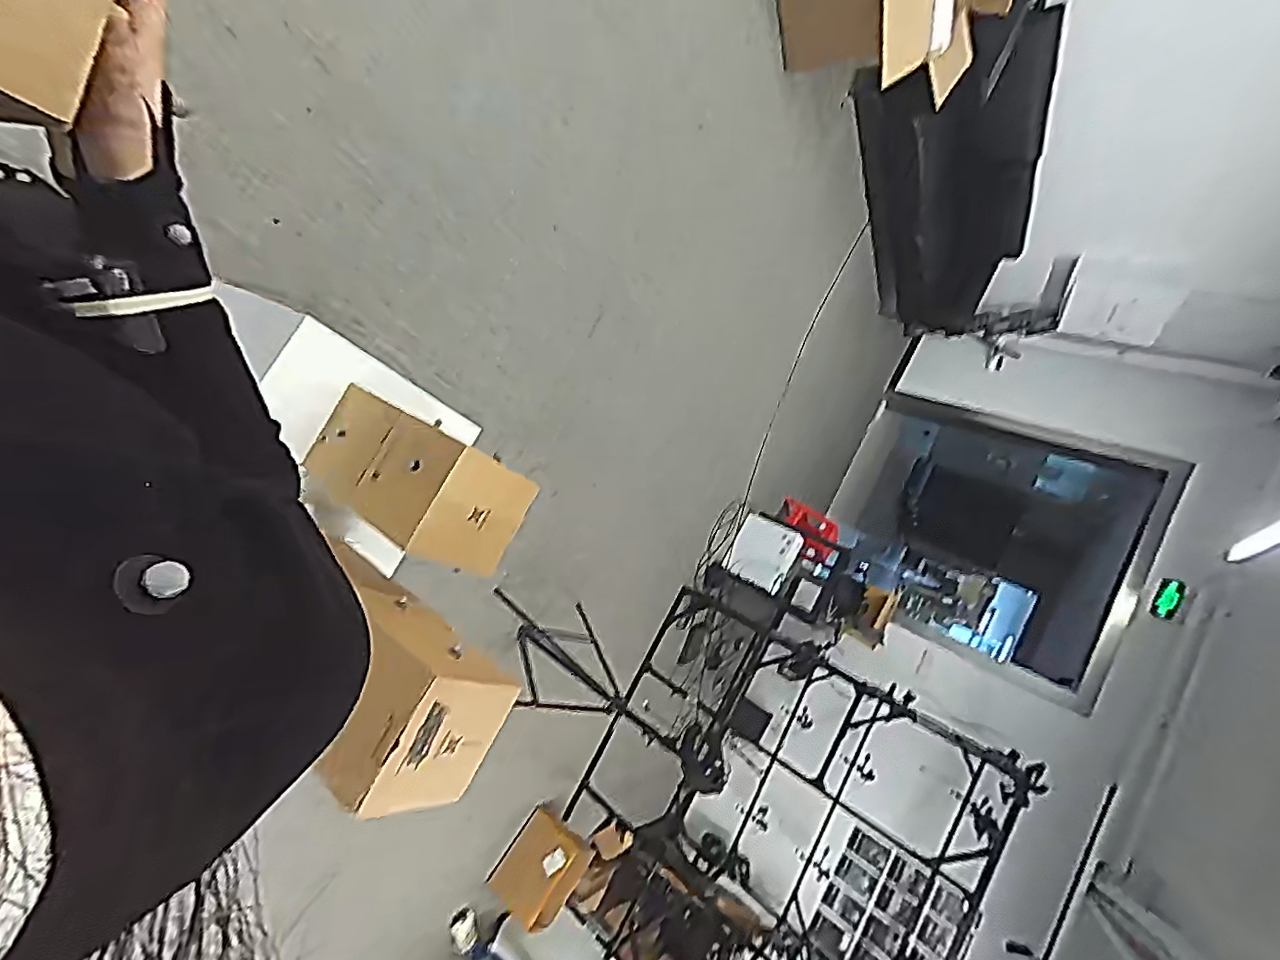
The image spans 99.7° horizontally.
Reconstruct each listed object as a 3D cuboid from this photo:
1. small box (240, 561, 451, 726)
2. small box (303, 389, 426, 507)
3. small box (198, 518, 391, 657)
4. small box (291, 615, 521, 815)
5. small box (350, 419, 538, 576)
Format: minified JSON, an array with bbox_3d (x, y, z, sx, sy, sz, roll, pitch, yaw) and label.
[{"bbox_3d":[-0.423,0.236,0.786,0.168,0.176,0.179,-61,147,-9],"label":"small box"},{"bbox_3d":[-0.421,-0.034,0.919,0.168,0.176,0.179,-62,147,-6],"label":"small box"},{"bbox_3d":[-0.552,0.177,0.866,0.168,0.176,0.179,-60,146,-8],"label":"small box"},{"bbox_3d":[-0.297,0.292,0.696,0.168,0.176,0.179,-61,149,-11],"label":"small box"},{"bbox_3d":[-0.298,0.023,0.828,0.168,0.176,0.179,-61,148,-6],"label":"small box"}]
